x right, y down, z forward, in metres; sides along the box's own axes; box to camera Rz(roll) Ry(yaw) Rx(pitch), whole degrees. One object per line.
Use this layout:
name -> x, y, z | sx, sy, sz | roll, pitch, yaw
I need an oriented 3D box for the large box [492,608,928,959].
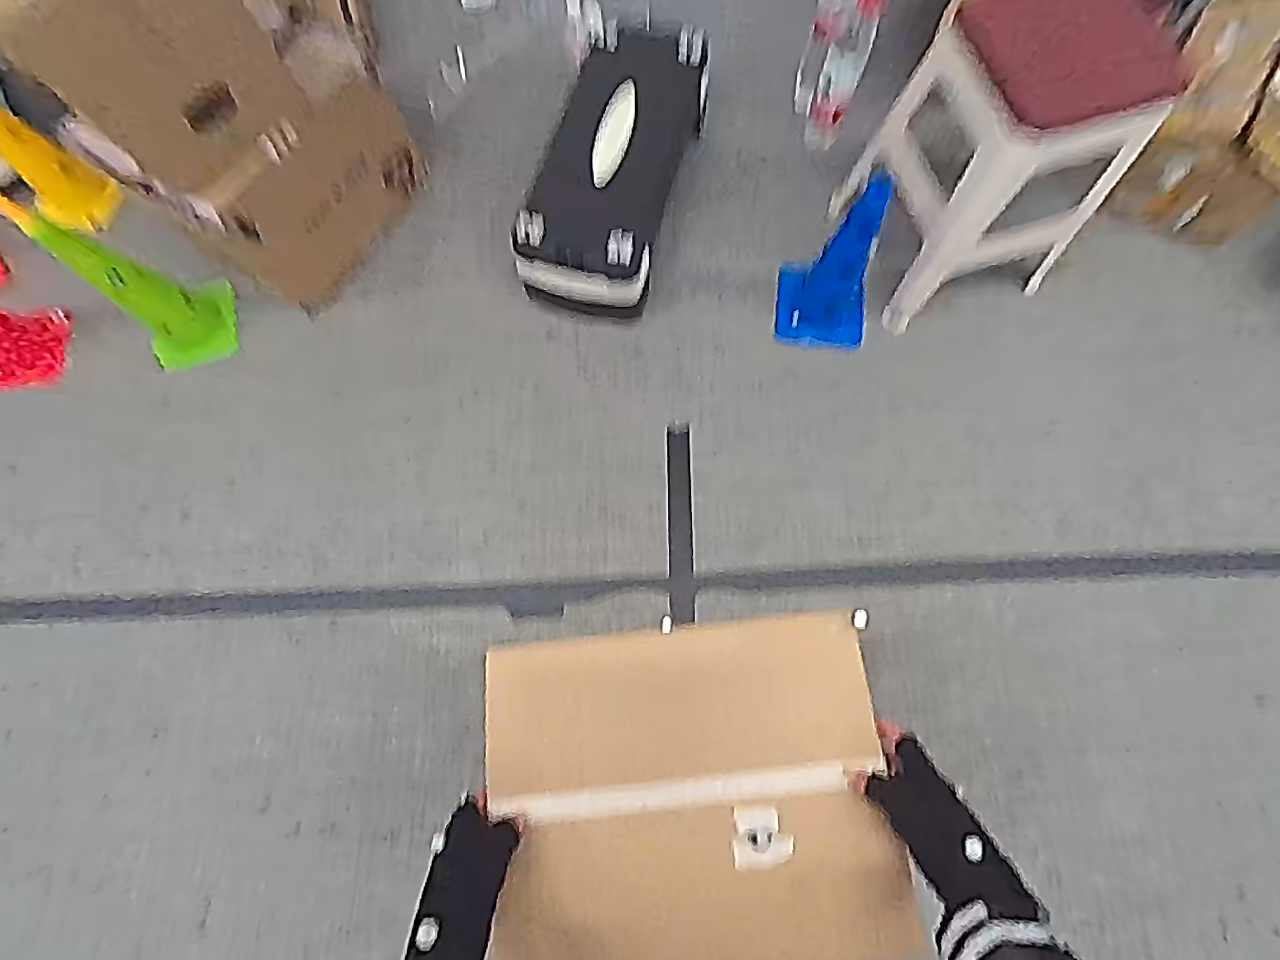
large box -> 0.057, 0.358, 0.684 | 0.408, 0.320, 0.320 | -7, 72, 0
